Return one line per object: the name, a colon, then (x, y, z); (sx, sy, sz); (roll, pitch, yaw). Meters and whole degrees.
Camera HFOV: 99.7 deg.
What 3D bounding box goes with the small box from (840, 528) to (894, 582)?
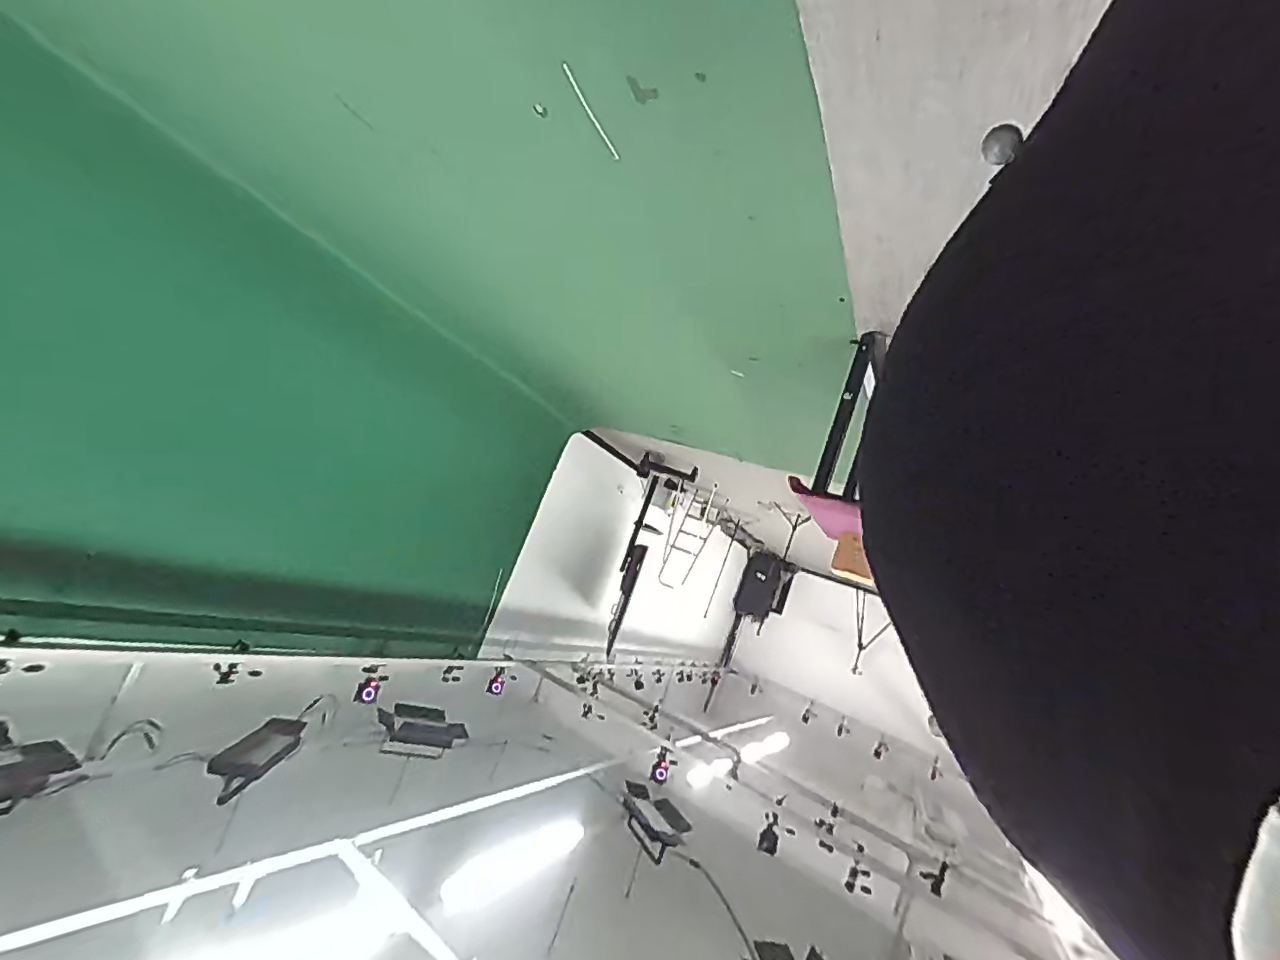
small box: (0.955, 0.313, 2.269); (0.168, 0.176, 0.179); (16, 170, 31)
